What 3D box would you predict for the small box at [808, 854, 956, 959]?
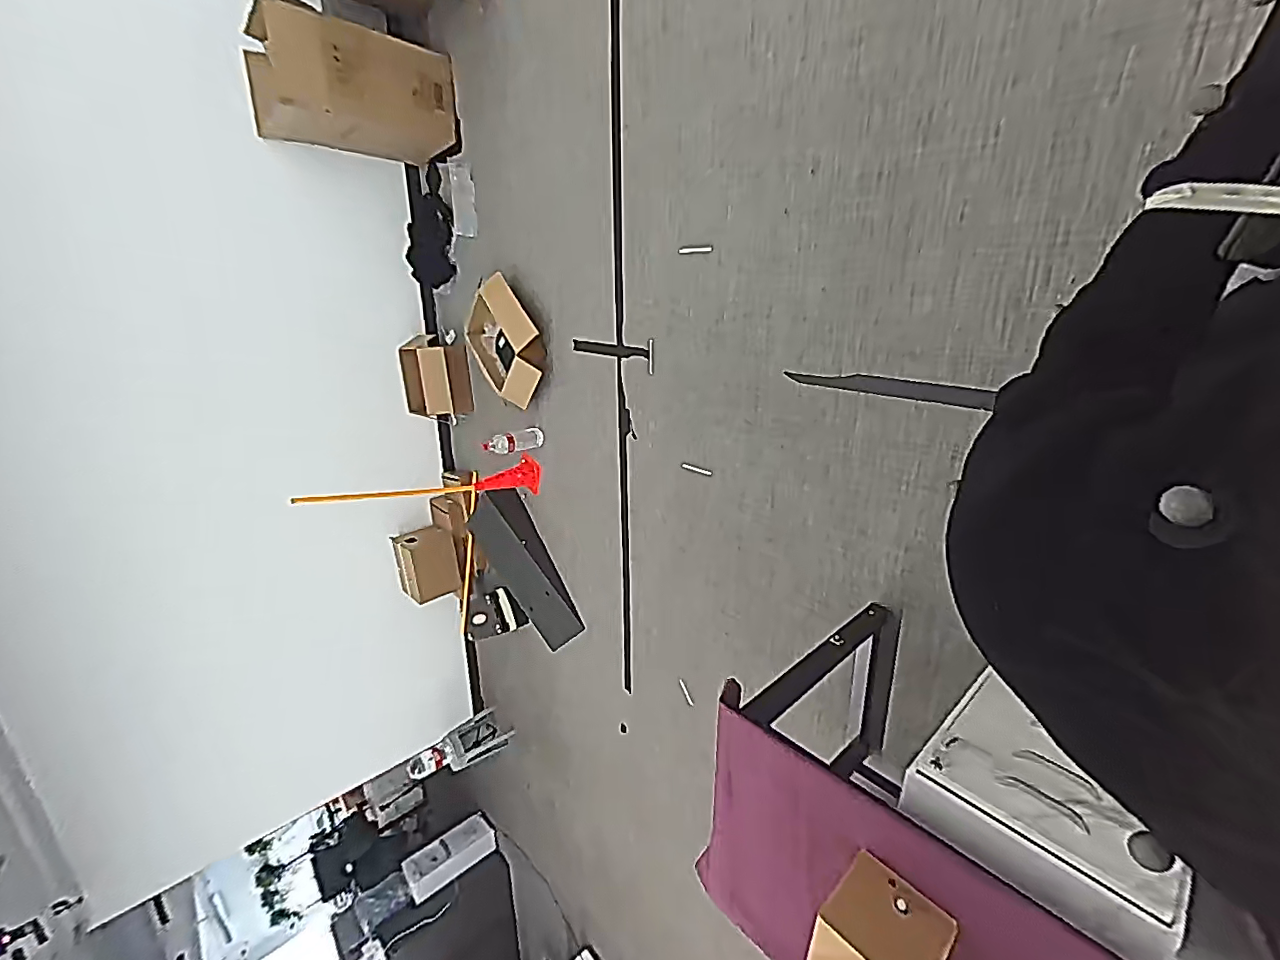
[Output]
[{"bbox_3d":[0.406,0.799,0.916,0.168,0.176,0.179,23,120,43],"label":"small box"}]
